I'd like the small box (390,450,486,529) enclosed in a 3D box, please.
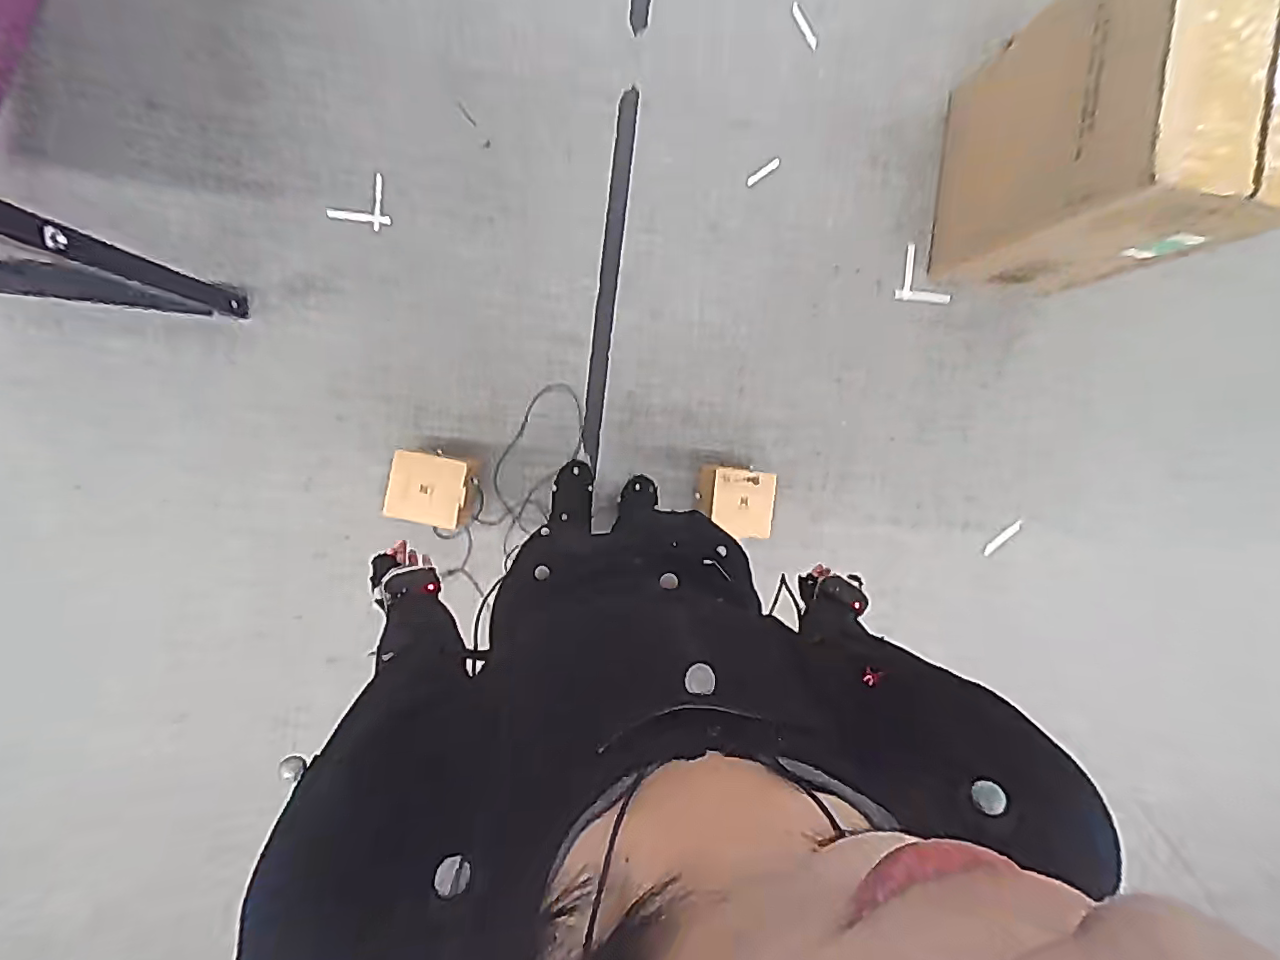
[{"bbox_3d":[-0.505,0.018,1.378,0.179,0.176,0.168,11,92,-4],"label":"small box"}]

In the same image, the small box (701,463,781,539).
[{"bbox_3d":[0.268,0.054,1.476,0.168,0.176,0.179,5,95,-8],"label":"small box"}]
